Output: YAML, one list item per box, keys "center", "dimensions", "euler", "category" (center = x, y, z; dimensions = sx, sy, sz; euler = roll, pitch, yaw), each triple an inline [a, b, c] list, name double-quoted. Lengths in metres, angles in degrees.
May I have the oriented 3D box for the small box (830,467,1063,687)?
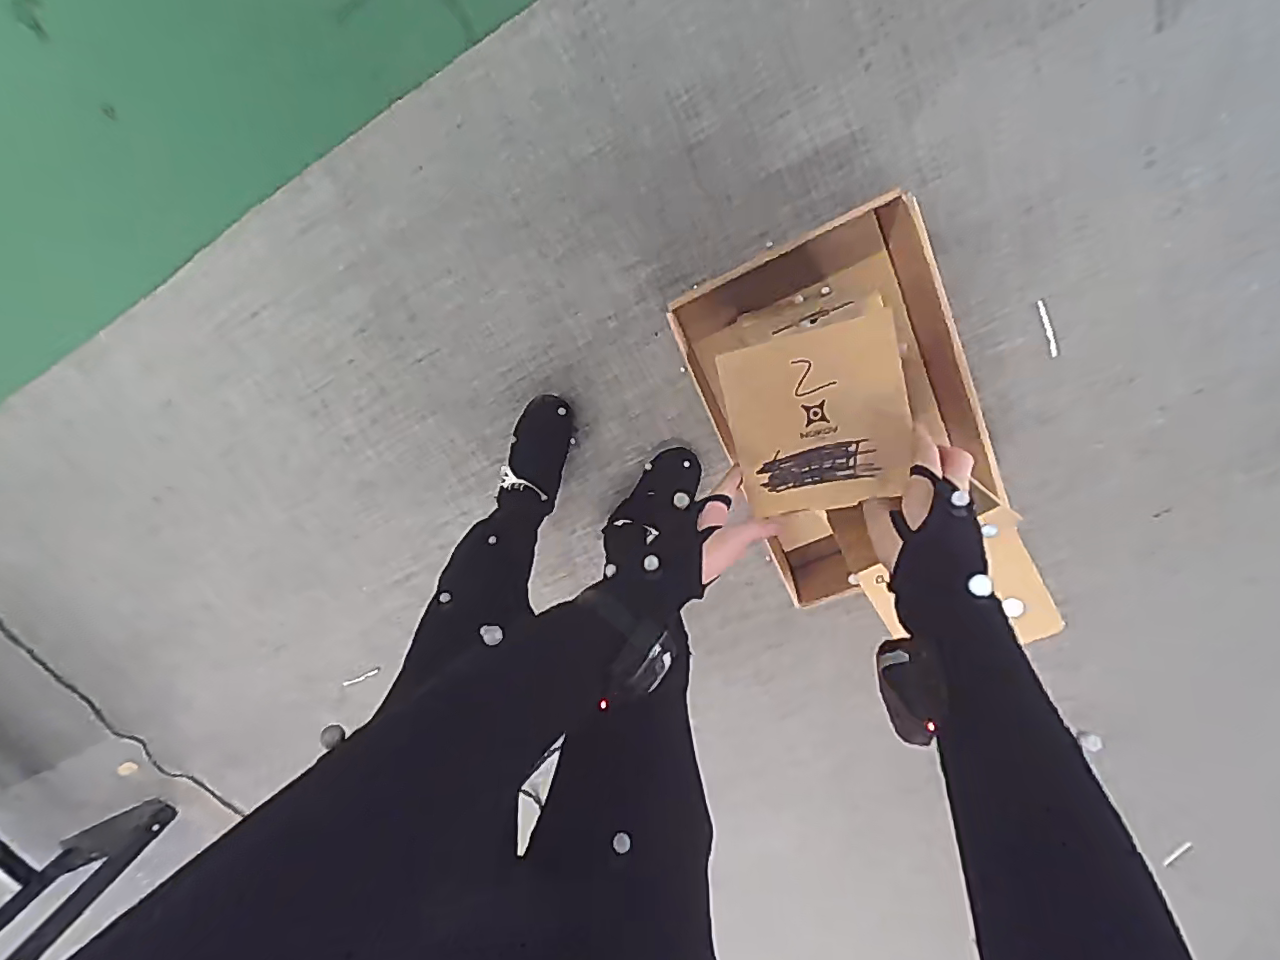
- center: [0.362, 0.111, 0.670]
  dimensions: [0.168, 0.176, 0.179]
  euler: [-31, 103, 16]
  category: "small box"

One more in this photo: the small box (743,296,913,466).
- center: [0.253, -0.145, 0.764]
  dimensions: [0.168, 0.176, 0.179]
  euler: [-19, 107, 12]
  category: "small box"

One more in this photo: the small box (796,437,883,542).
- center: [0.400, 0.014, 0.978]
  dimensions: [0.179, 0.176, 0.168]
  euler: [-40, 100, 17]
  category: "small box"

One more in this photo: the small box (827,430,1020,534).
- center: [0.406, 0.049, 0.816]
  dimensions: [0.168, 0.176, 0.179]
  euler: [37, 109, -6]
  category: "small box"
